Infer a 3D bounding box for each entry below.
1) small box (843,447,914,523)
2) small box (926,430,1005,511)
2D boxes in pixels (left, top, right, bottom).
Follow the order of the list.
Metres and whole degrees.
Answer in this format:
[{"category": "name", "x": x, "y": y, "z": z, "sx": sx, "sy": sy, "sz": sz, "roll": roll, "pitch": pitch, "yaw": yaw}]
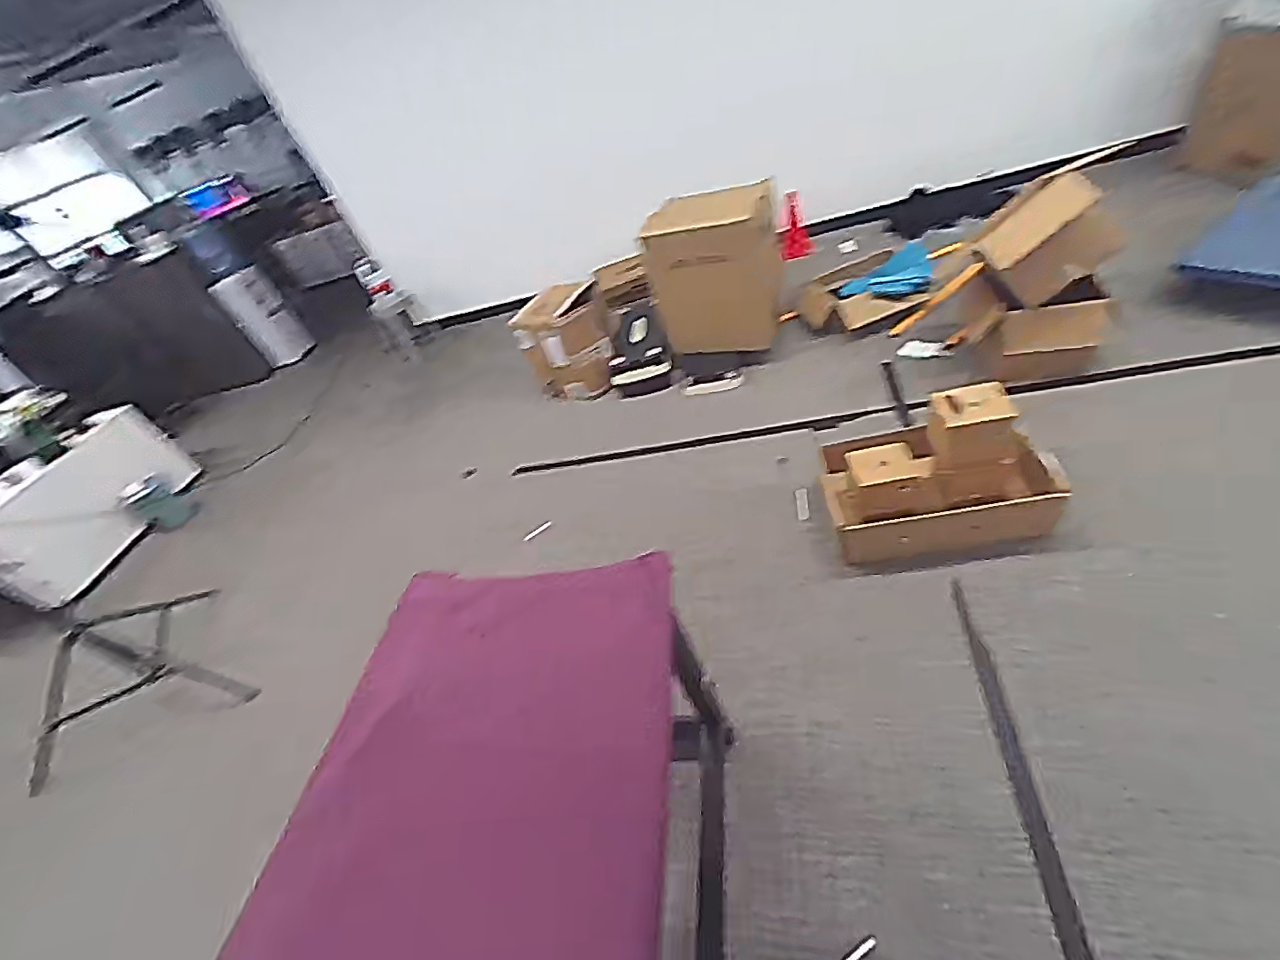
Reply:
[{"category": "small box", "x": 0.775, "y": 0.019, "z": 1.774, "sx": 0.179, "sy": 0.176, "sz": 0.168, "roll": -11, "pitch": 40, "yaw": 11}, {"category": "small box", "x": 1.023, "y": -0.028, "z": 1.718, "sx": 0.168, "sy": 0.176, "sz": 0.179, "roll": -12, "pitch": 41, "yaw": 14}]
